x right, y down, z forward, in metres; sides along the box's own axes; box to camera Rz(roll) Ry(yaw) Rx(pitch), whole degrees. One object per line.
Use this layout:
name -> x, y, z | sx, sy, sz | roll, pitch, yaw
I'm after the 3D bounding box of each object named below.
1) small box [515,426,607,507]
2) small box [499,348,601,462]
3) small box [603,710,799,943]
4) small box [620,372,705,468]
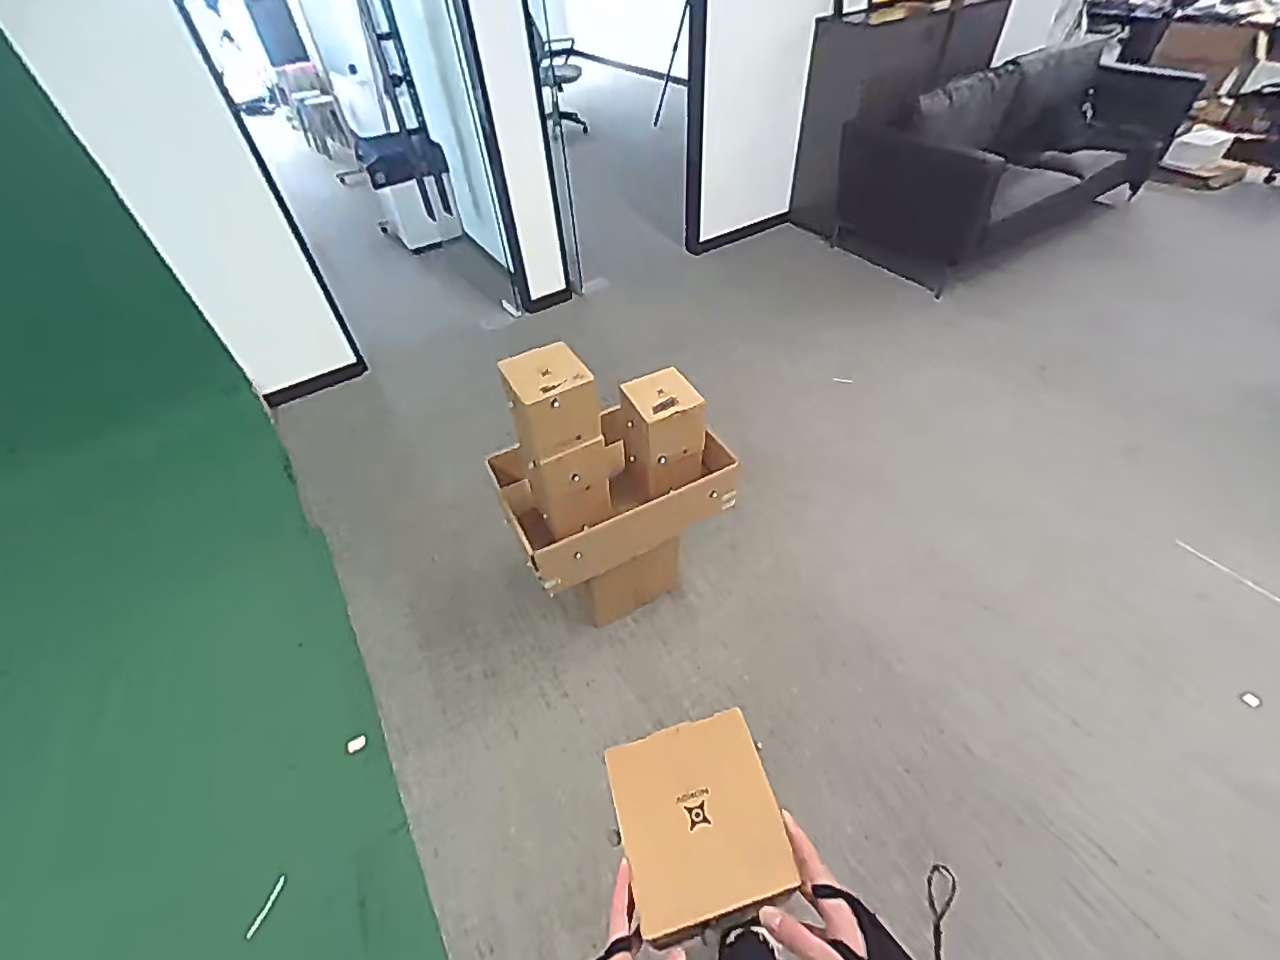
small box -> -0.193, -0.055, 1.361 | 0.168, 0.176, 0.179 | -24, 51, -18
small box -> -0.204, -0.172, 1.247 | 0.168, 0.176, 0.179 | -25, 50, -18
small box -> 0.066, 0.402, 0.623 | 0.168, 0.176, 0.179 | -15, 45, -6
small box -> 0.062, -0.152, 1.438 | 0.168, 0.176, 0.179 | -21, 48, -15
